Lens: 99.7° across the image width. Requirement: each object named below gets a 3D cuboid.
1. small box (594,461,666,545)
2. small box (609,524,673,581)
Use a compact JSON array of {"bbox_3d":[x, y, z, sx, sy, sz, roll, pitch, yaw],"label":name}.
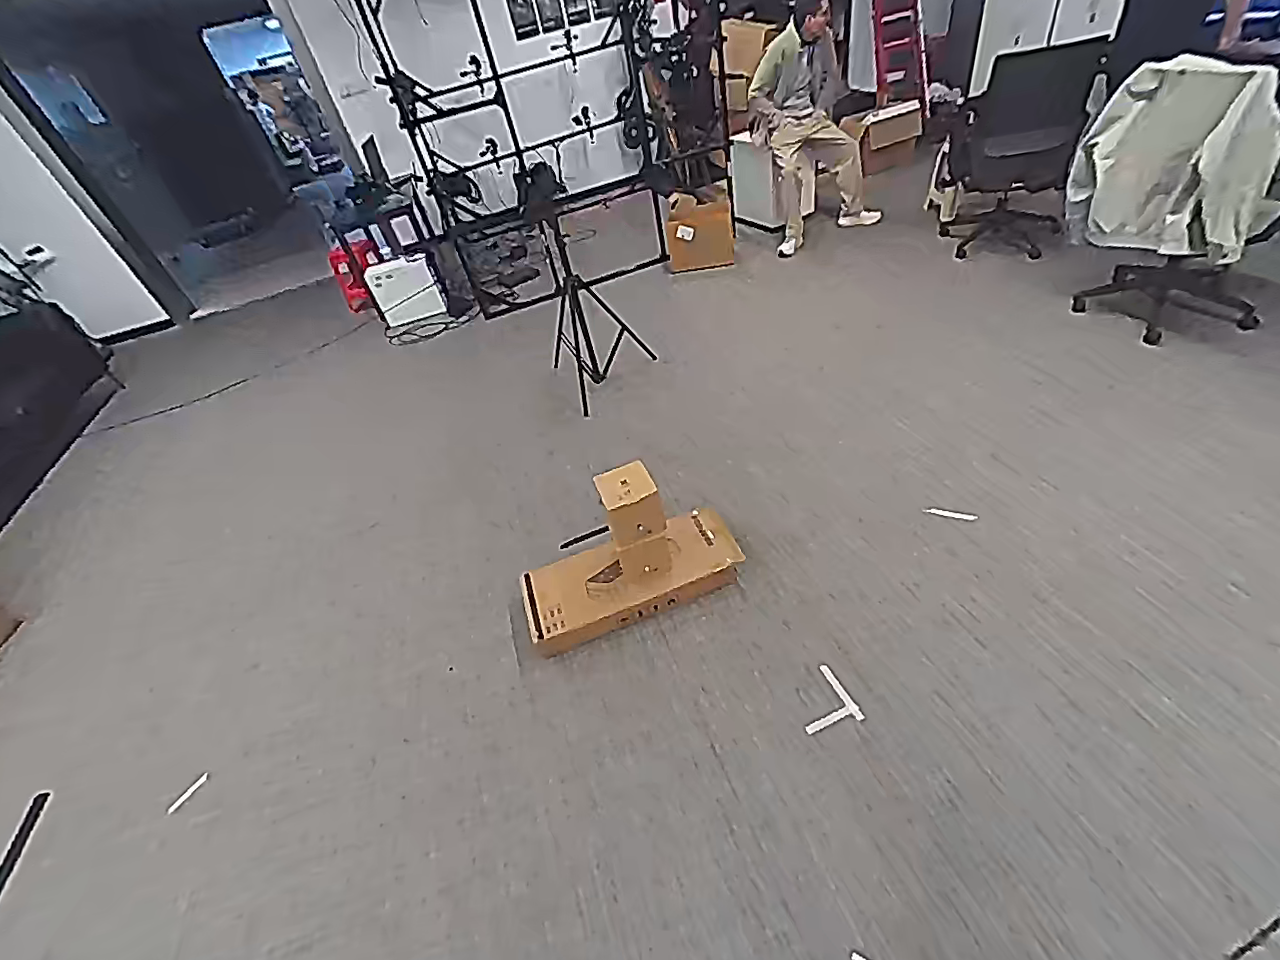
[{"bbox_3d":[-0.032,0.074,1.719,0.168,0.176,0.179,-21,41,-7],"label":"small box"},{"bbox_3d":[0.000,0.206,1.815,0.168,0.176,0.179,-19,41,-4],"label":"small box"}]
